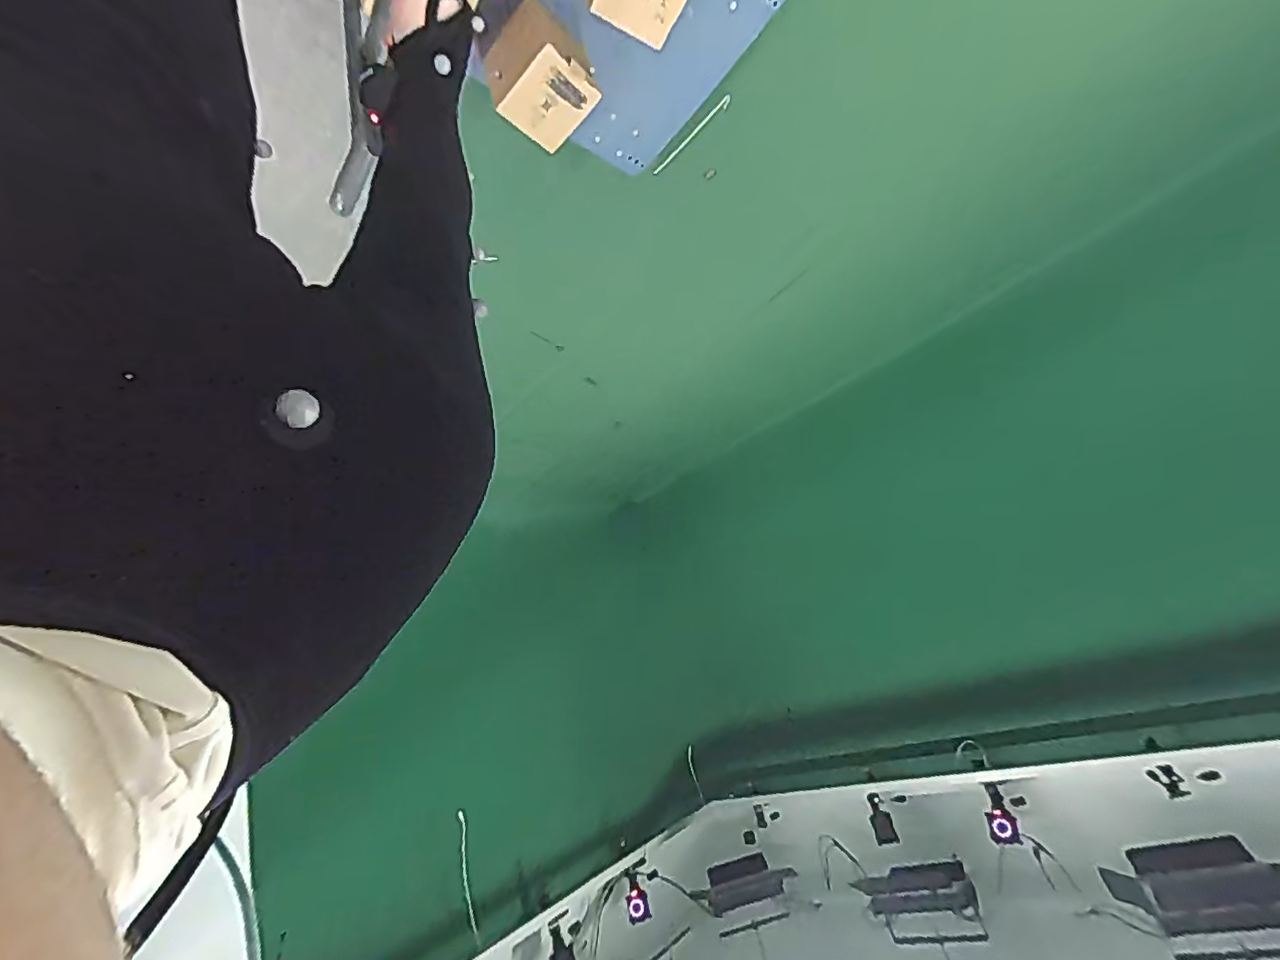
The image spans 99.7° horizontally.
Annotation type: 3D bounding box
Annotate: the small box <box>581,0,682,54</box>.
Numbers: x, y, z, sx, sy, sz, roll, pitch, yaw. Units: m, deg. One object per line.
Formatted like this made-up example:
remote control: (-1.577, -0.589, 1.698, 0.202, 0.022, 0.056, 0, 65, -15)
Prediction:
small box: (-0.023, -0.998, 1.051, 0.179, 0.176, 0.168, -2, 155, -37)

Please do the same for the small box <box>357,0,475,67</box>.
small box: (-0.403, -0.910, 0.962, 0.168, 0.176, 0.179, 2, 153, -42)
